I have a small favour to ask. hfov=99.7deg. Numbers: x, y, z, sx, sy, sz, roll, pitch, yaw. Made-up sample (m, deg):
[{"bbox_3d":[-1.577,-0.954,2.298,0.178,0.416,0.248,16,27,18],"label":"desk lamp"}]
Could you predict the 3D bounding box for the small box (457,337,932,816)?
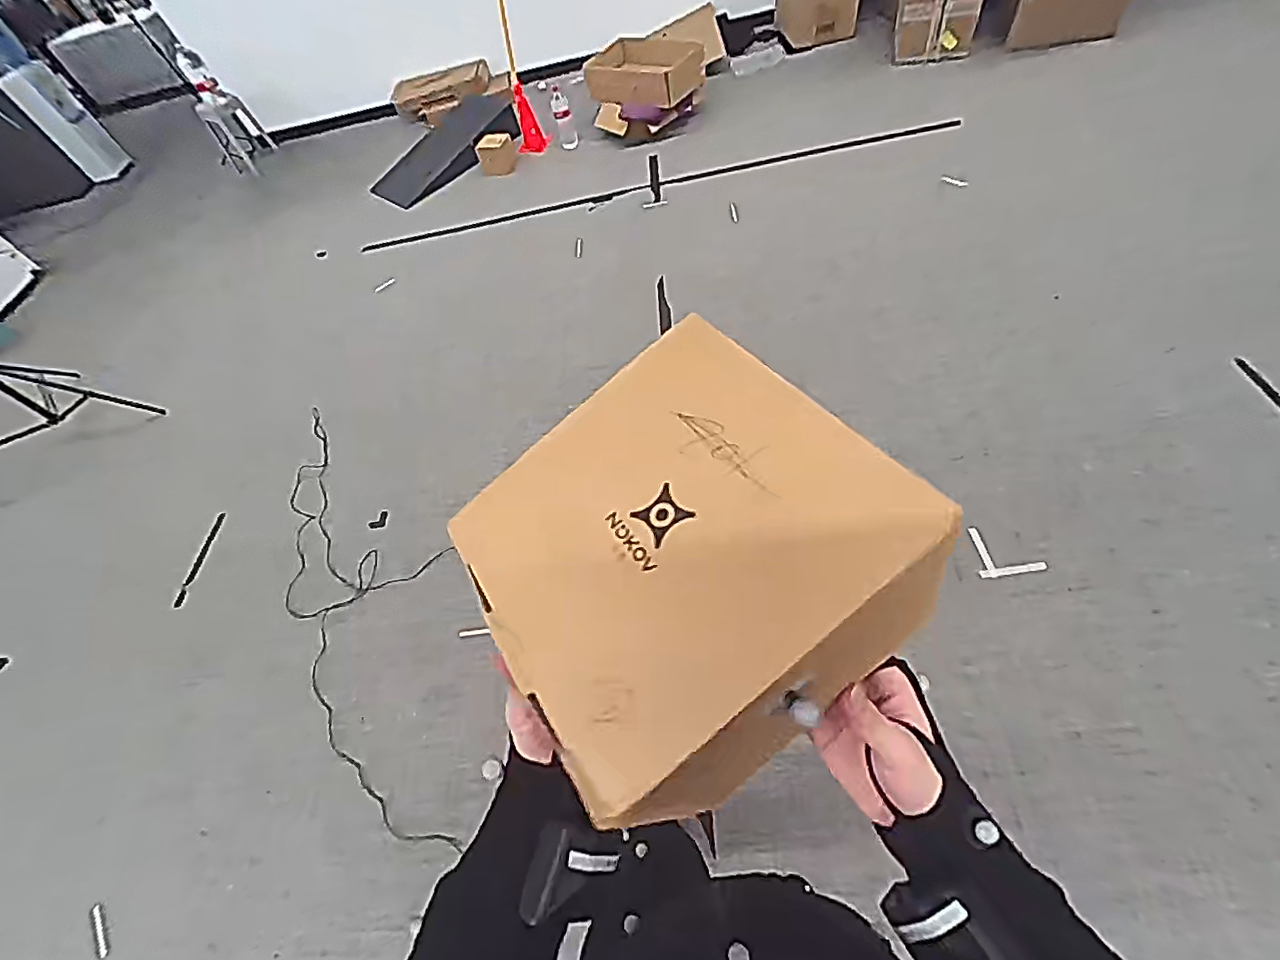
[{"bbox_3d":[0.036,0.061,0.317,0.179,0.176,0.168,-41,56,-3],"label":"small box"}]
